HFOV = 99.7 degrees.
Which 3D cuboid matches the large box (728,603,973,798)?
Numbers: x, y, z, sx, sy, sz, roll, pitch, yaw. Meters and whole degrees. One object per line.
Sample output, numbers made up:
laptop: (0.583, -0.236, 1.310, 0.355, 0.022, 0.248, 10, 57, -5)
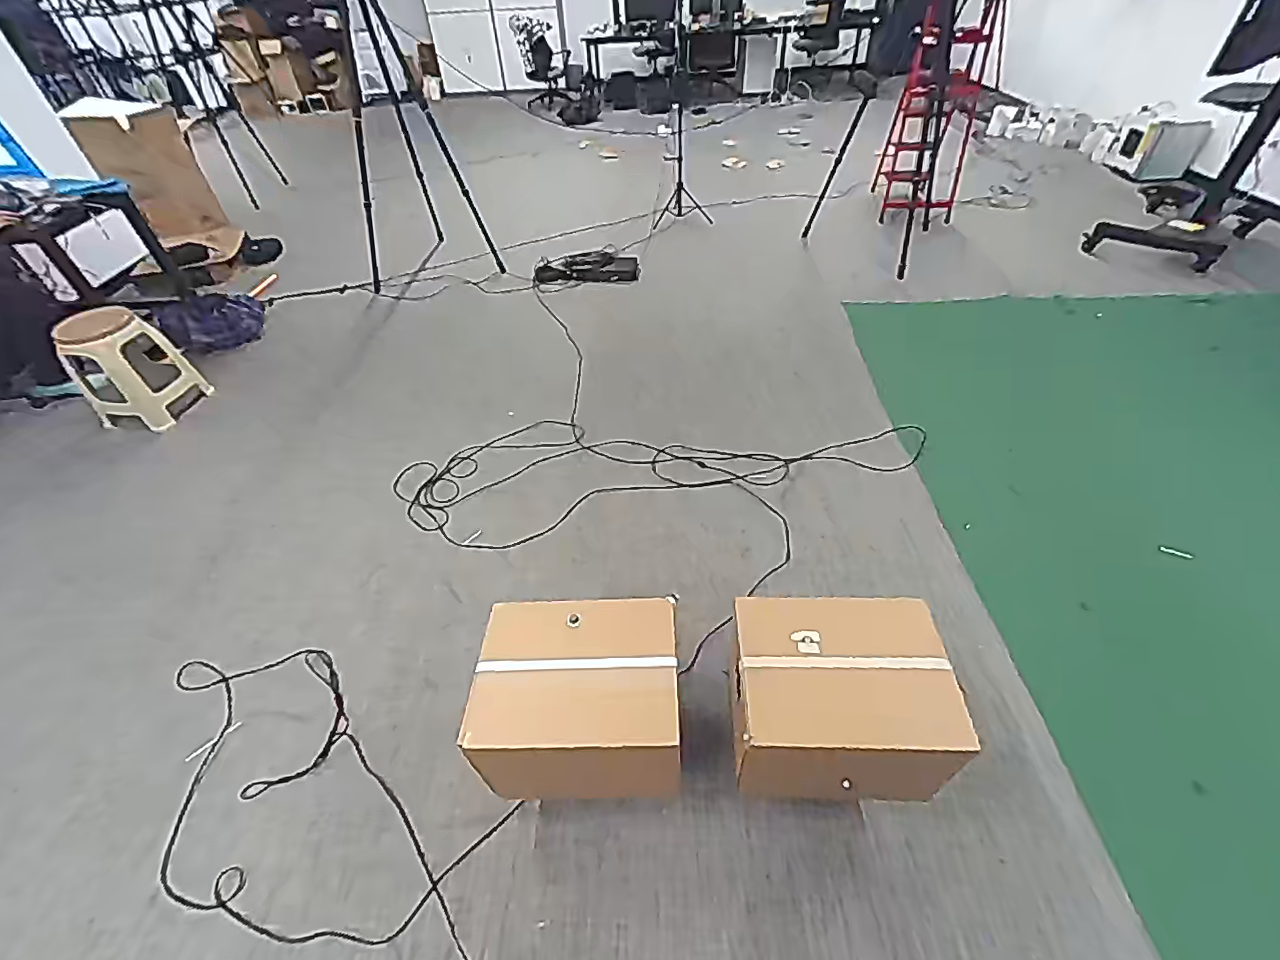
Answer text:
large box: (0.412, 0.483, 1.181, 0.408, 0.320, 0.320, -1, 44, 4)
